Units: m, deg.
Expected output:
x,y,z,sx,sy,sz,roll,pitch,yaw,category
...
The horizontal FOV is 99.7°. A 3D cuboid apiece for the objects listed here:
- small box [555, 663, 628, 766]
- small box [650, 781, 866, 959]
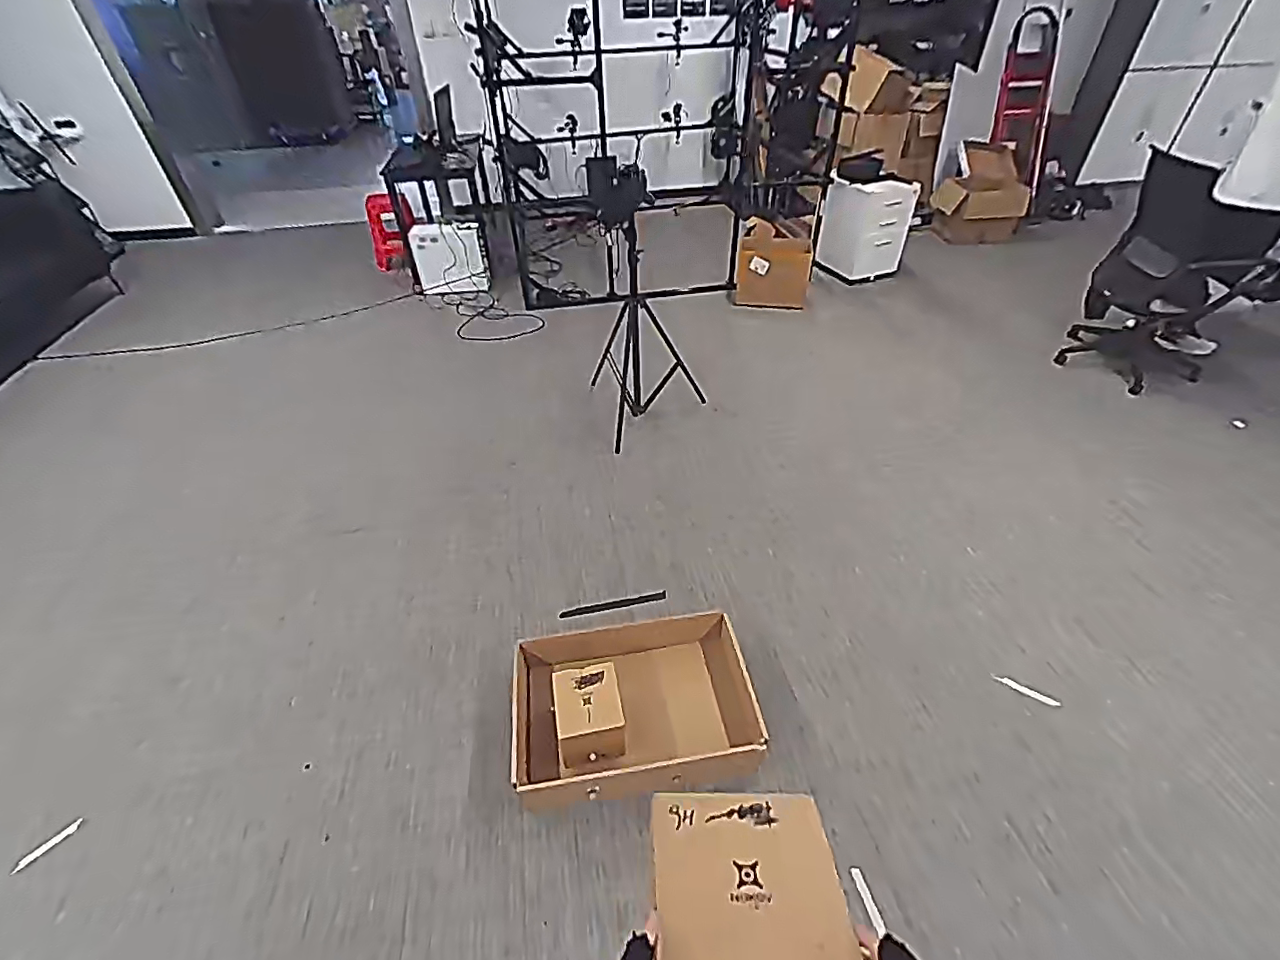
x,y,z,sx,sy,sz,roll,pitch,yaw,category
-0.128,0.611,1.411,0.168,0.176,0.179,-8,42,-8,small box
0.094,0.417,0.506,0.168,0.176,0.179,1,25,-1,small box
